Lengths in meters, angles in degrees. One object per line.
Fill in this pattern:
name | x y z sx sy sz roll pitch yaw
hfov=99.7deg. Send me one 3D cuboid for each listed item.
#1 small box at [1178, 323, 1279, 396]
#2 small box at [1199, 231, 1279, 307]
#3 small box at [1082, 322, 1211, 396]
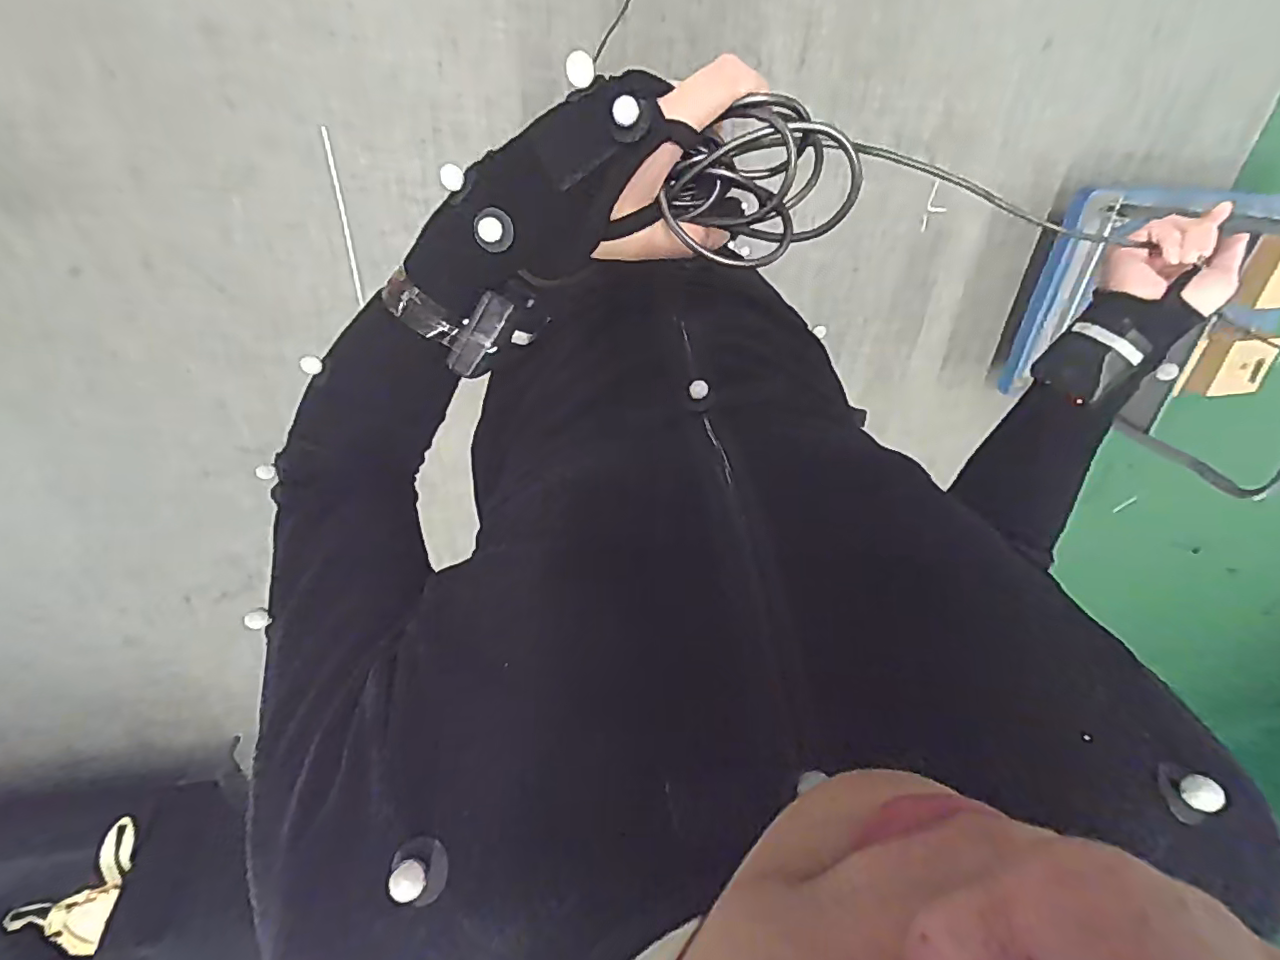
small box | 1.715 -0.362 1.603 0.179 0.176 0.168 -5 121 -7
small box | 1.709 -0.577 1.471 0.179 0.176 0.168 -6 122 -8
small box | 1.449 -0.351 1.559 0.179 0.176 0.168 -1 121 -9
